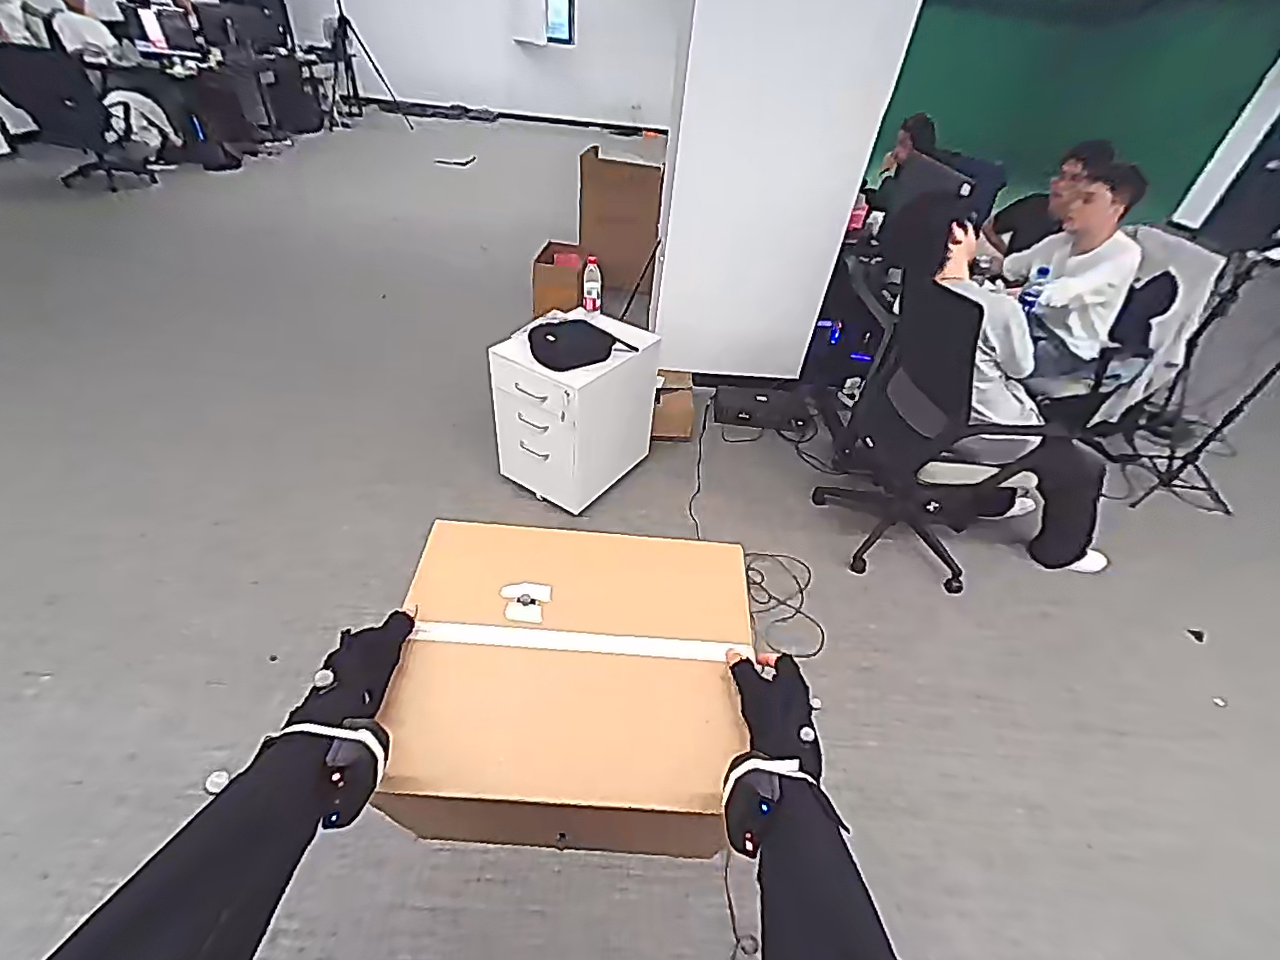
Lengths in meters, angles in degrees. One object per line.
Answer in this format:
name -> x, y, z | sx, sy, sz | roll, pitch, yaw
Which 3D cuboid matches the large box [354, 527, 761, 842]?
large box -> -0.083, 0.286, 0.733 | 0.408, 0.320, 0.320 | 4, 48, -2
